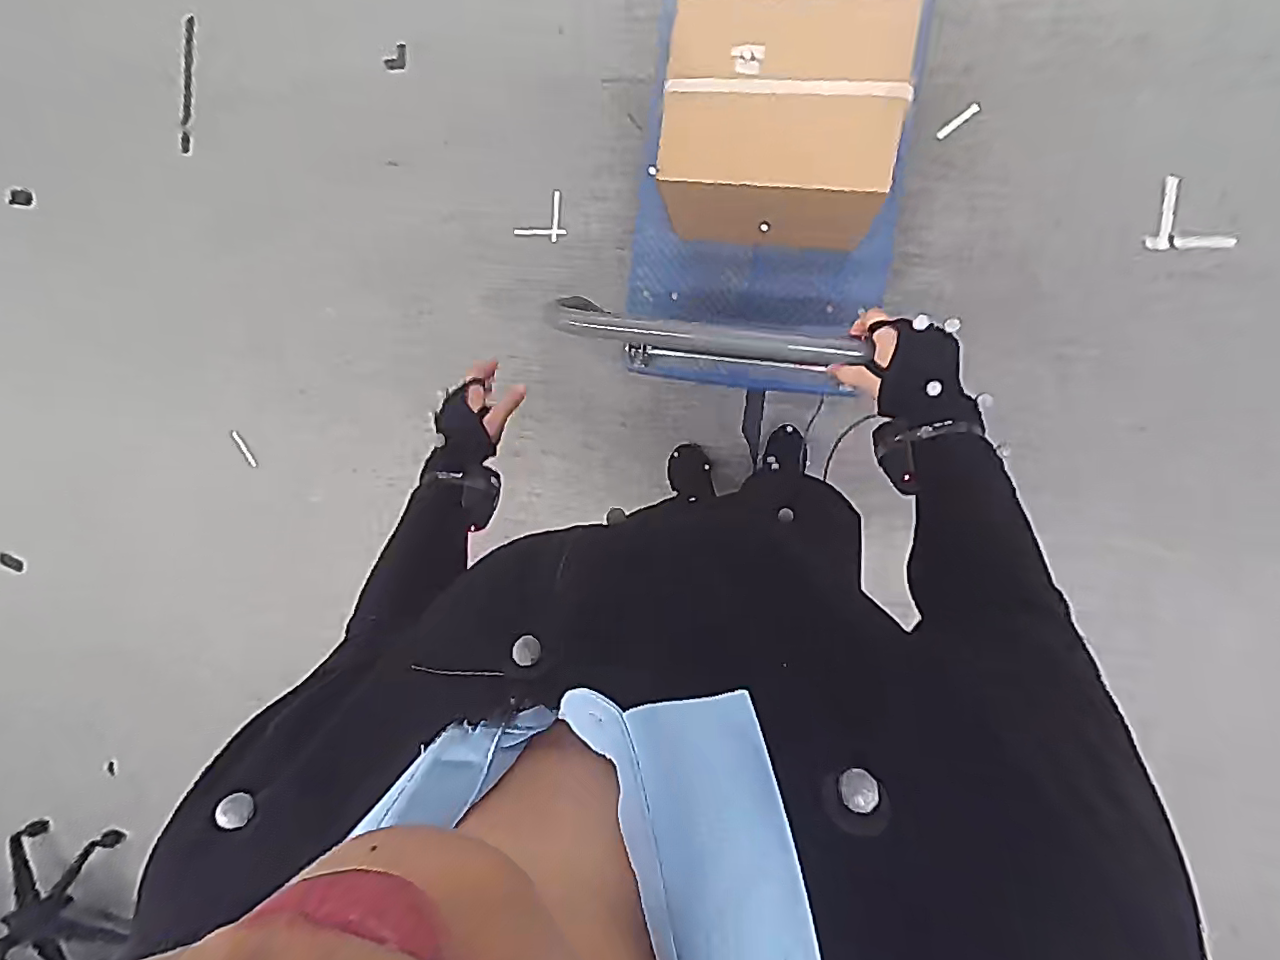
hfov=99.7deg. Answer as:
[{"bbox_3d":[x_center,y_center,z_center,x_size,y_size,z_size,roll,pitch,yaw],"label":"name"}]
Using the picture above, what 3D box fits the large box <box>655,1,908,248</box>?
[{"bbox_3d":[0.269,-0.680,1.092,0.408,0.320,0.320,9,96,11],"label":"large box"}]
